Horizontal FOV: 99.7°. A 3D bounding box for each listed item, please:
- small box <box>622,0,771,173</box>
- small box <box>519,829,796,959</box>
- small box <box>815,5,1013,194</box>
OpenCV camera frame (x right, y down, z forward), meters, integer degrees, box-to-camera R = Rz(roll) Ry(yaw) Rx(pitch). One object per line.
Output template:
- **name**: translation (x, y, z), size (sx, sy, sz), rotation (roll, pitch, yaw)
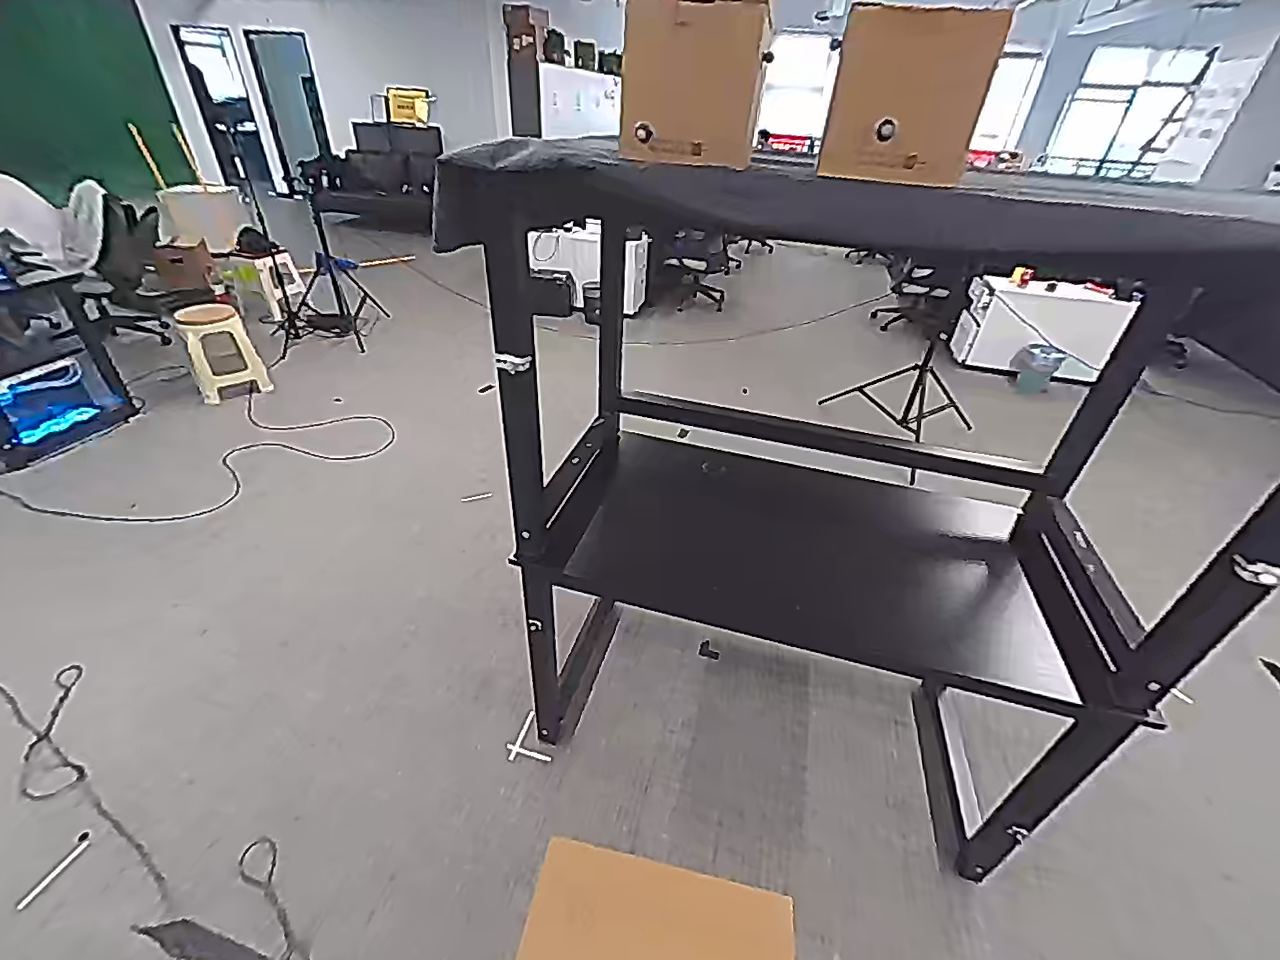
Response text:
- **small box**: translation (0.075, -0.516, 0.726), size (0.168, 0.176, 0.179), rotation (11, 33, 9)
- **small box**: translation (-0.003, 0.368, 0.341), size (0.168, 0.176, 0.179), rotation (10, 36, 6)
- **small box**: translation (0.323, -0.468, 0.682), size (0.168, 0.176, 0.179), rotation (11, 34, 11)
